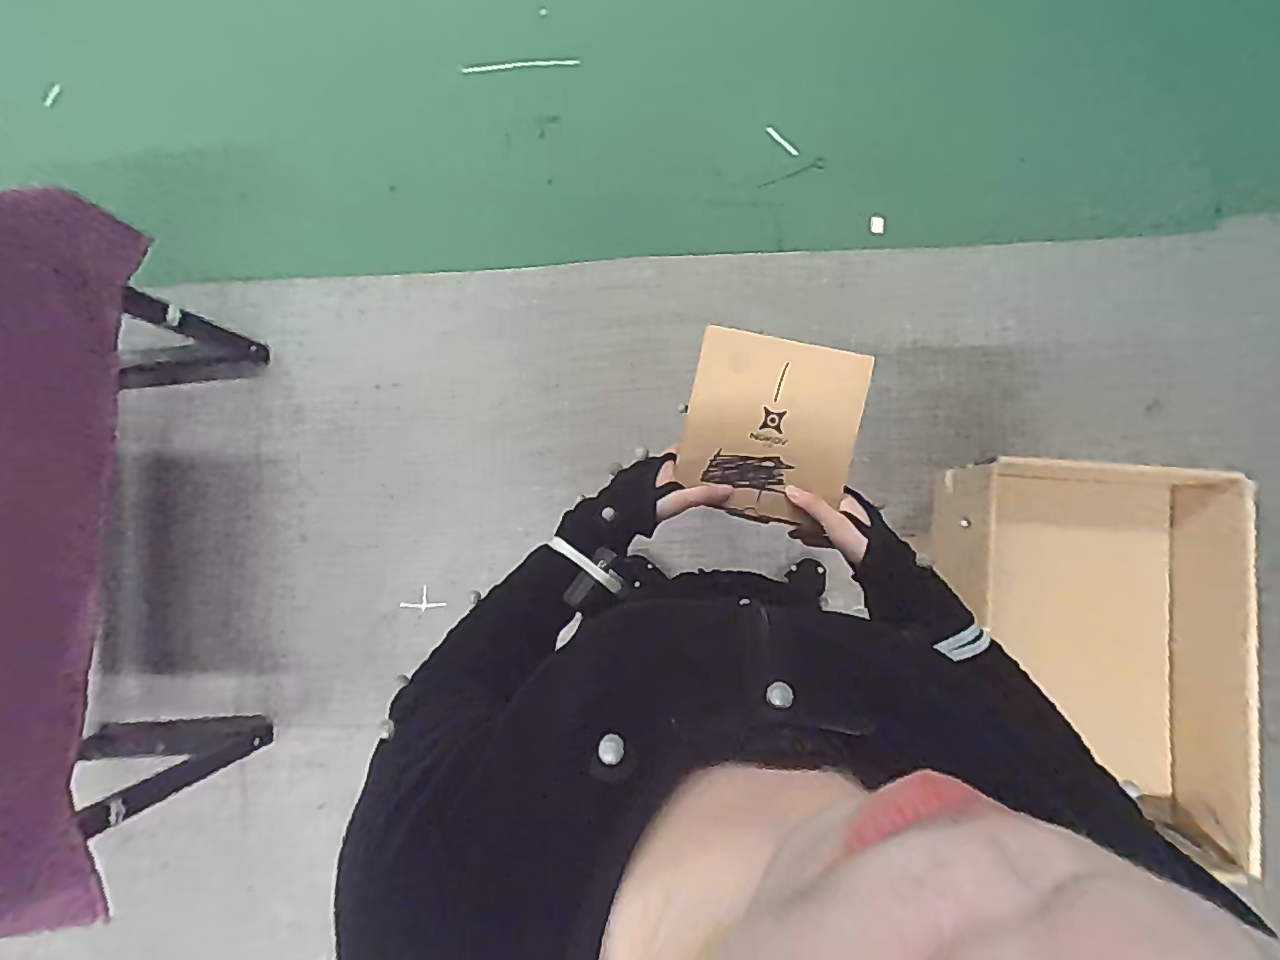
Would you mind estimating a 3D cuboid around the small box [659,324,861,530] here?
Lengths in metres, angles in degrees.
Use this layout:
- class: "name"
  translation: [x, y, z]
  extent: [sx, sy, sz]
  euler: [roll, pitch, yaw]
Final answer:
- class: "small box"
  translation: [0.123, -0.055, 0.608]
  extent: [0.168, 0.176, 0.179]
  euler: [12, 93, 4]
